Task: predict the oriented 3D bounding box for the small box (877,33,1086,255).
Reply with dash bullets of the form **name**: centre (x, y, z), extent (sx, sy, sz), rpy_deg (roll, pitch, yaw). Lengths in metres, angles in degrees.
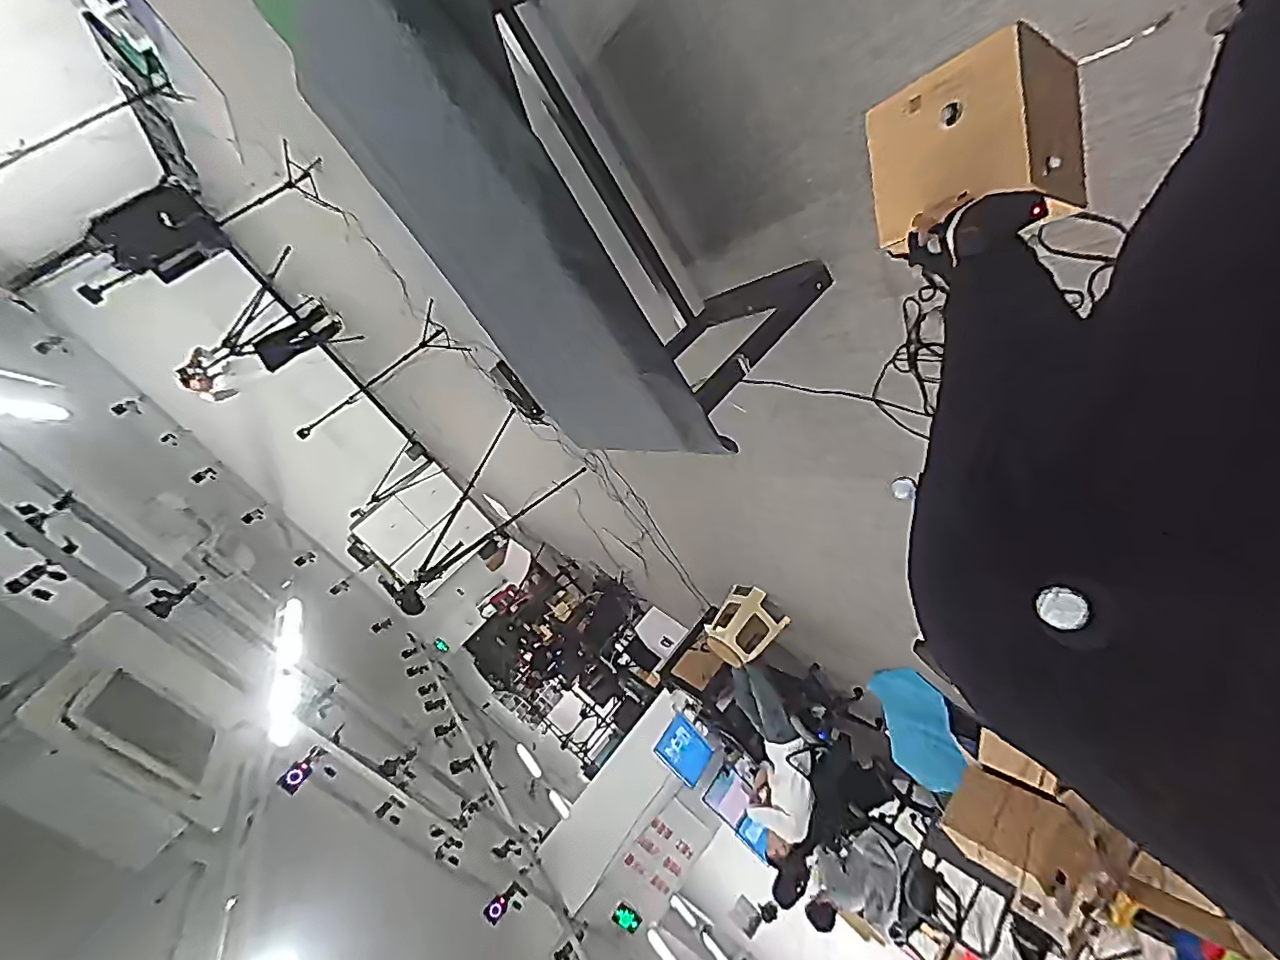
- **small box**: centre (0.412, -0.389, 0.655), extent (0.168, 0.179, 0.176), rpy_deg (0, 100, 55)
